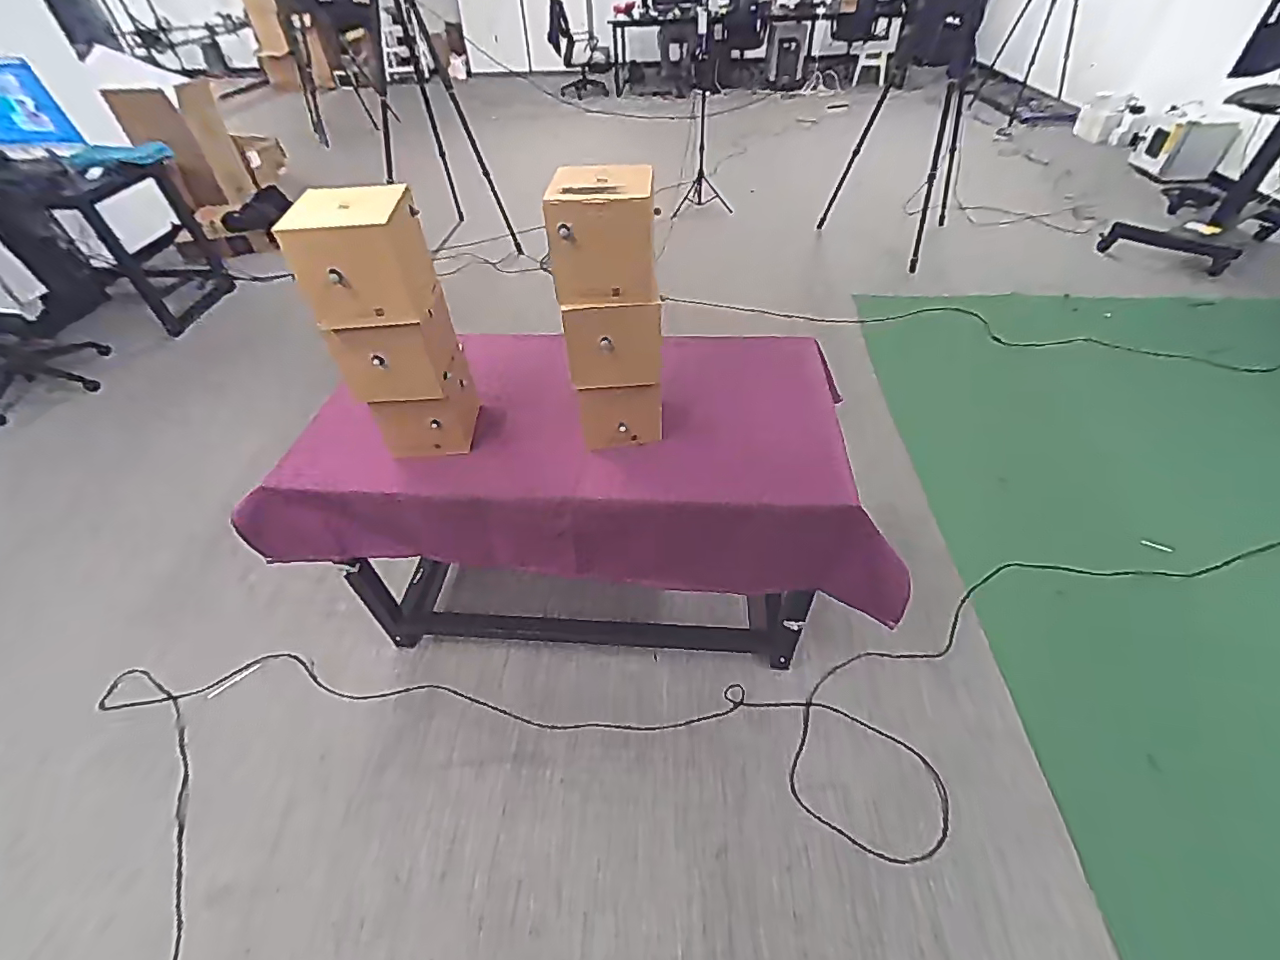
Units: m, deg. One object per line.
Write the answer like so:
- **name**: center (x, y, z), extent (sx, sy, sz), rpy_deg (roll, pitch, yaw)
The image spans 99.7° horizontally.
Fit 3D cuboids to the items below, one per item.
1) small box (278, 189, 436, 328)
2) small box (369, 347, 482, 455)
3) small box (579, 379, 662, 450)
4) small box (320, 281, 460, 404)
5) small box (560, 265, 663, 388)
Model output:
- **small box**: center (-0.458, -0.368, 0.911), extent (0.168, 0.176, 0.179), rpy_deg (-6, 45, -3)
- **small box**: center (-0.451, -0.165, 1.168), extent (0.168, 0.176, 0.179), rpy_deg (-3, 45, -1)
- **small box**: center (-0.046, -0.188, 1.163), extent (0.168, 0.176, 0.179), rpy_deg (-8, 45, -4)
- **small box**: center (-0.461, -0.261, 1.034), extent (0.179, 0.176, 0.168), rpy_deg (-3, 45, 0)
- **small box**: center (-0.050, -0.289, 1.032), extent (0.179, 0.176, 0.168), rpy_deg (-4, 45, -1)
